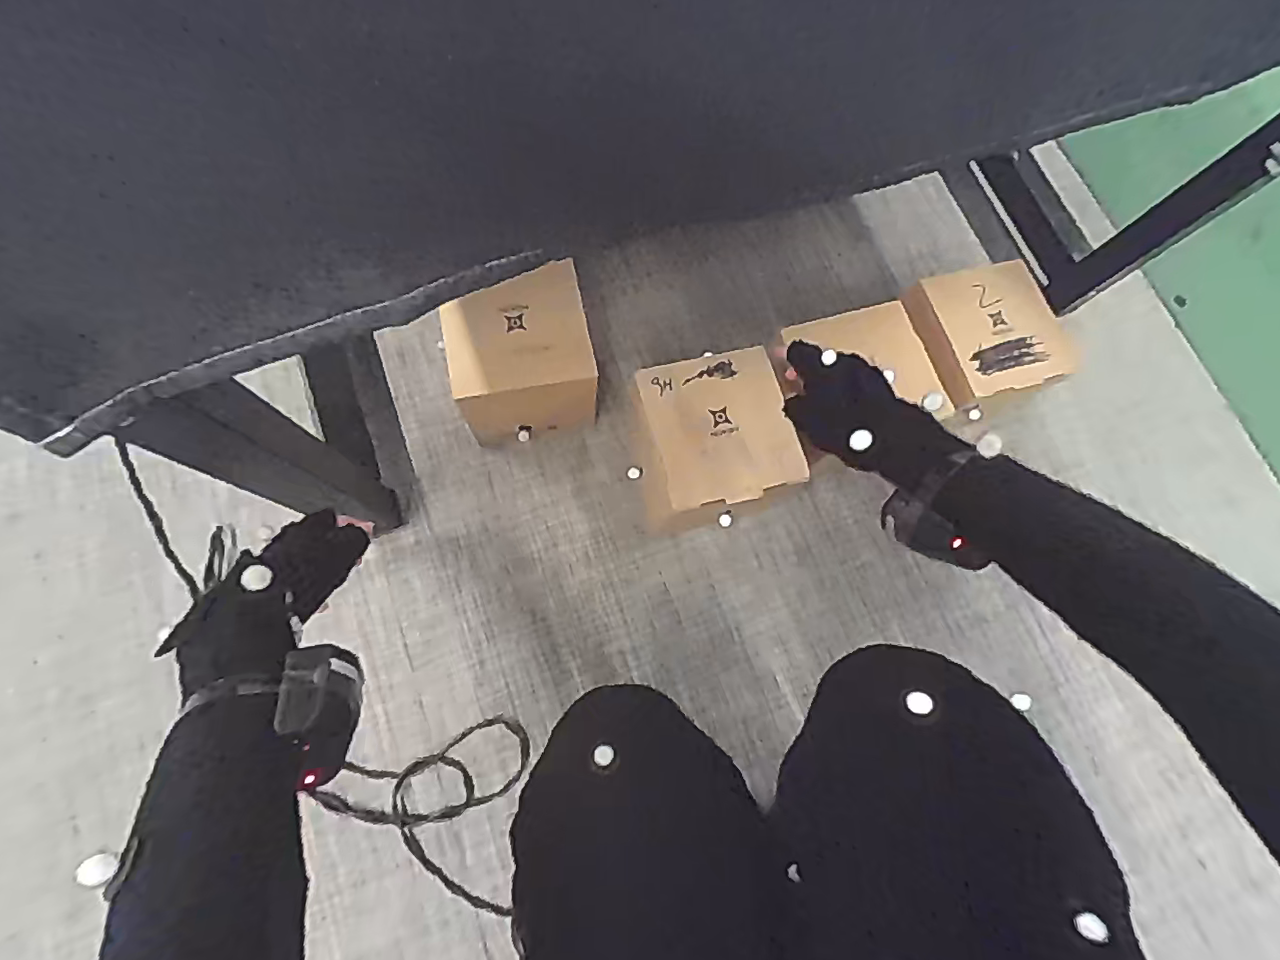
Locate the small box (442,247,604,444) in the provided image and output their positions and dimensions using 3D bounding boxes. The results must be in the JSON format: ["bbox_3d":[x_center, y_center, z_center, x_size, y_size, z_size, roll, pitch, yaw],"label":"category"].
[{"bbox_3d":[-0.145,-0.166,0.699,0.168,0.176,0.179,-10,75,-8],"label":"small box"}]
